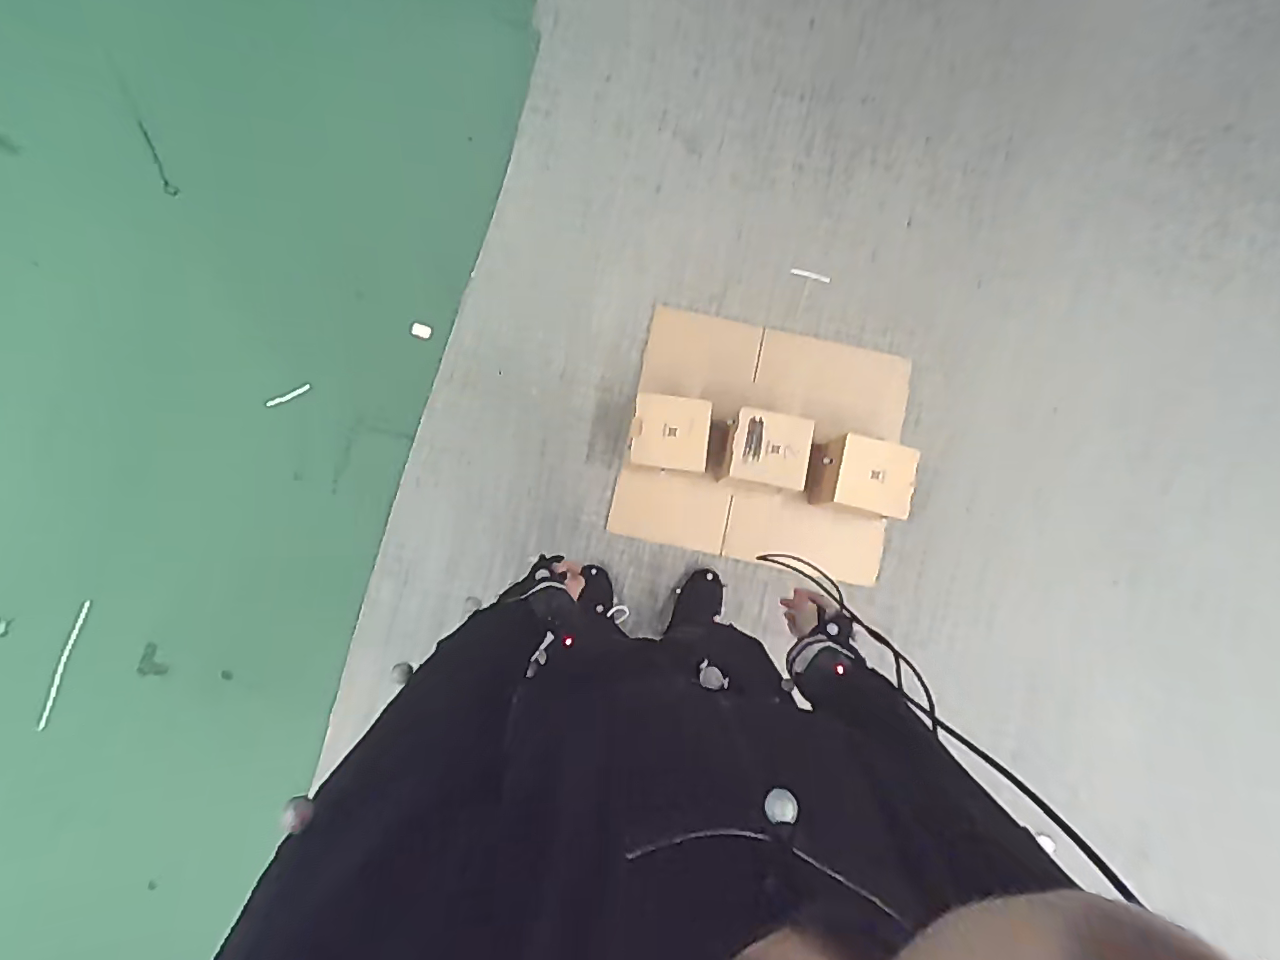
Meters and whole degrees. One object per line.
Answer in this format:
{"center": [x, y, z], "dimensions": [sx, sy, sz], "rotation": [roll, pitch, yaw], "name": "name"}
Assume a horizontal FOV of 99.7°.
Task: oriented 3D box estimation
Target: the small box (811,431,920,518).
{"center": [0.529, -0.006, 1.294], "dimensions": [0.179, 0.176, 0.168], "rotation": [14, 84, -1], "name": "small box"}

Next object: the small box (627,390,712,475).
{"center": [0.064, -0.107, 1.293], "dimensions": [0.179, 0.176, 0.168], "rotation": [7, 85, -2], "name": "small box"}
